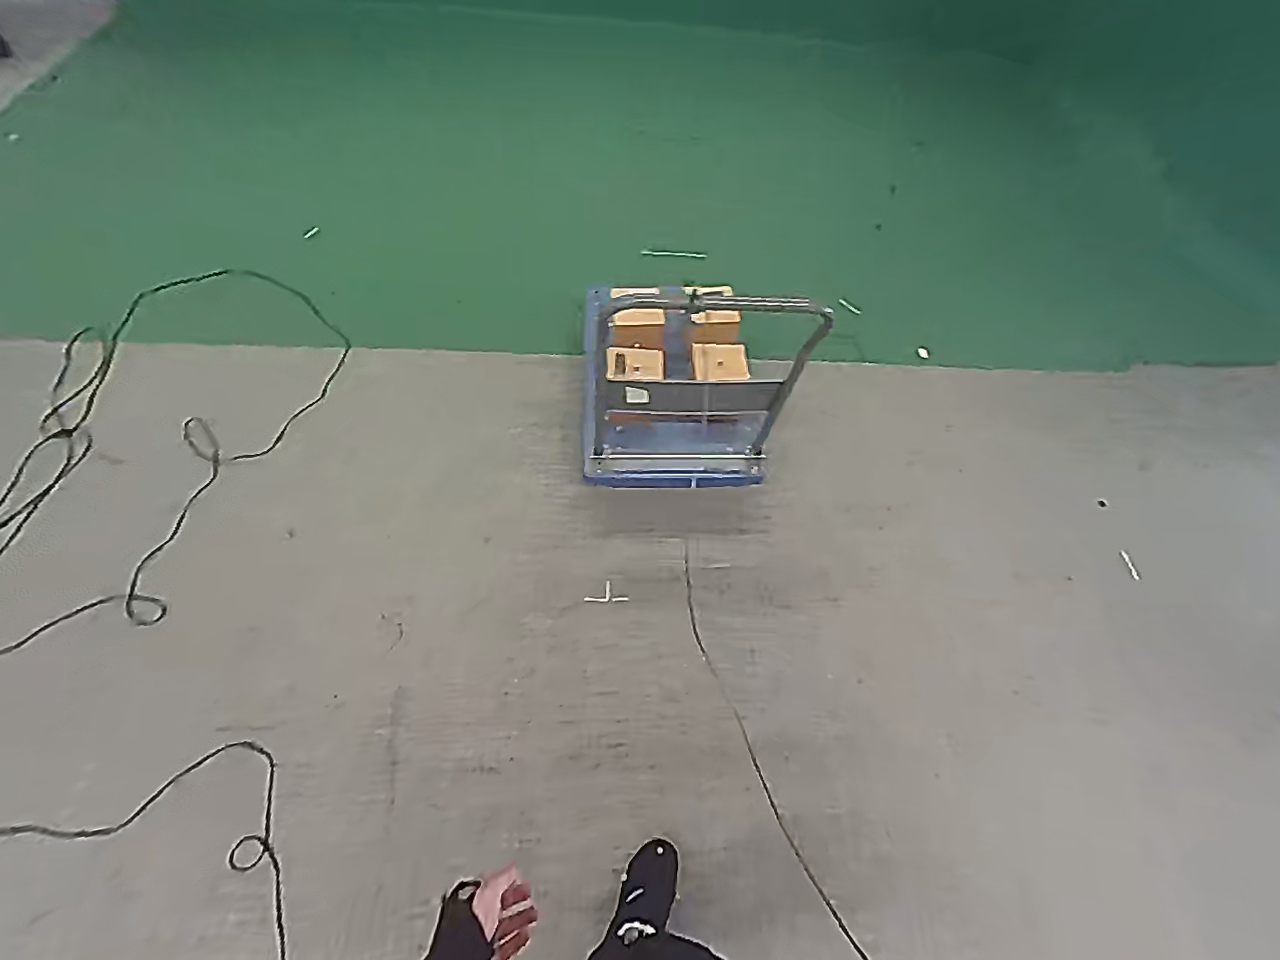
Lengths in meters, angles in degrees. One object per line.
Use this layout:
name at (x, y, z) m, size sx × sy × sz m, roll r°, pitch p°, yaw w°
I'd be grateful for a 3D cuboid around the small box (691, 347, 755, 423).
small box at (0.261, -0.305, 1.742) m, size 0.168 × 0.176 × 0.179 m, roll 1°, pitch 59°, yaw -4°

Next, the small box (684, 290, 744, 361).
small box at (0.251, -0.536, 1.882) m, size 0.168 × 0.176 × 0.179 m, roll -3°, pitch 60°, yaw -5°

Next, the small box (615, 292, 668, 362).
small box at (0.001, -0.520, 1.855) m, size 0.168 × 0.176 × 0.179 m, roll -3°, pitch 59°, yaw -7°
